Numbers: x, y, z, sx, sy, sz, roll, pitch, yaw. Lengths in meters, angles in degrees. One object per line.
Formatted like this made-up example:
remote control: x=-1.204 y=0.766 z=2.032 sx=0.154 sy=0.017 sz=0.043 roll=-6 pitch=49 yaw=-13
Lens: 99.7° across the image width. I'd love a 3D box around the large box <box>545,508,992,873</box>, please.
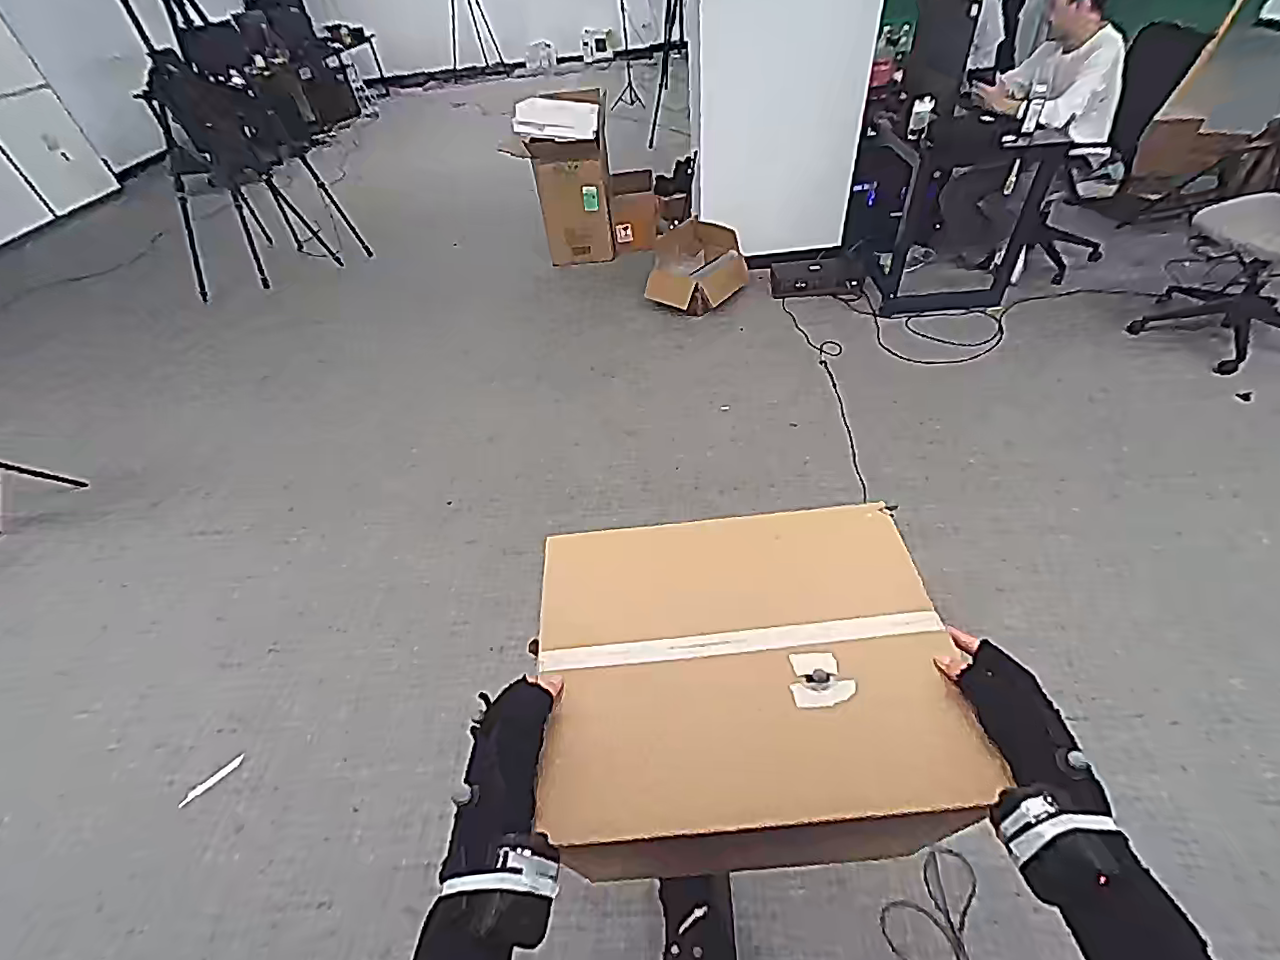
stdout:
large box: x=0.110 y=0.268 z=0.678 sx=0.408 sy=0.320 sz=0.320 roll=-6 pitch=49 yaw=1
